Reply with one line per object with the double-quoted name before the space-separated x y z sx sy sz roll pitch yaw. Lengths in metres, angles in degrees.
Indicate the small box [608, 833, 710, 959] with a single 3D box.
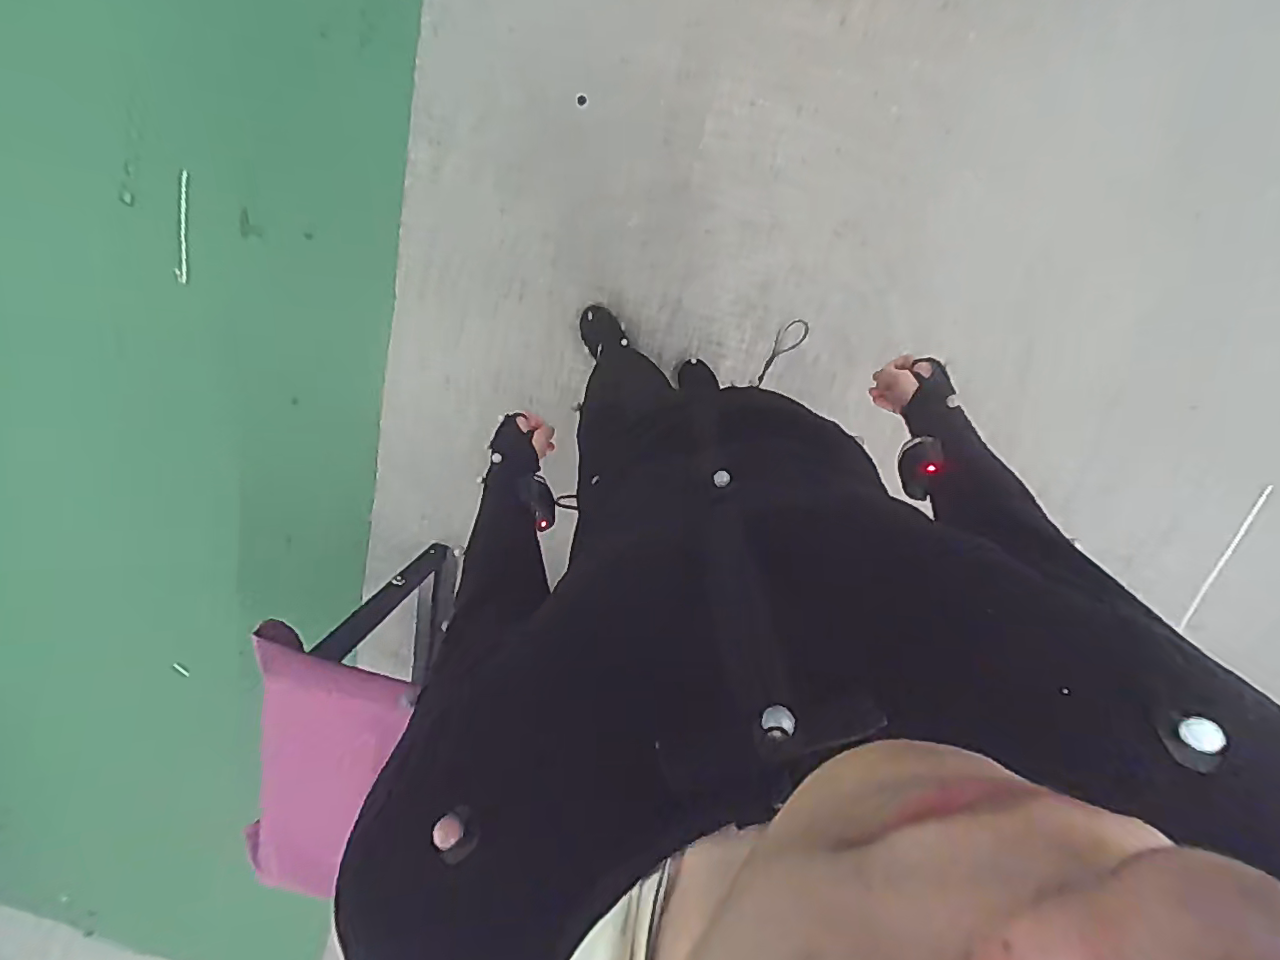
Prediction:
"small box" 0.040 0.839 1.051 0.168 0.176 0.179 11 107 3
